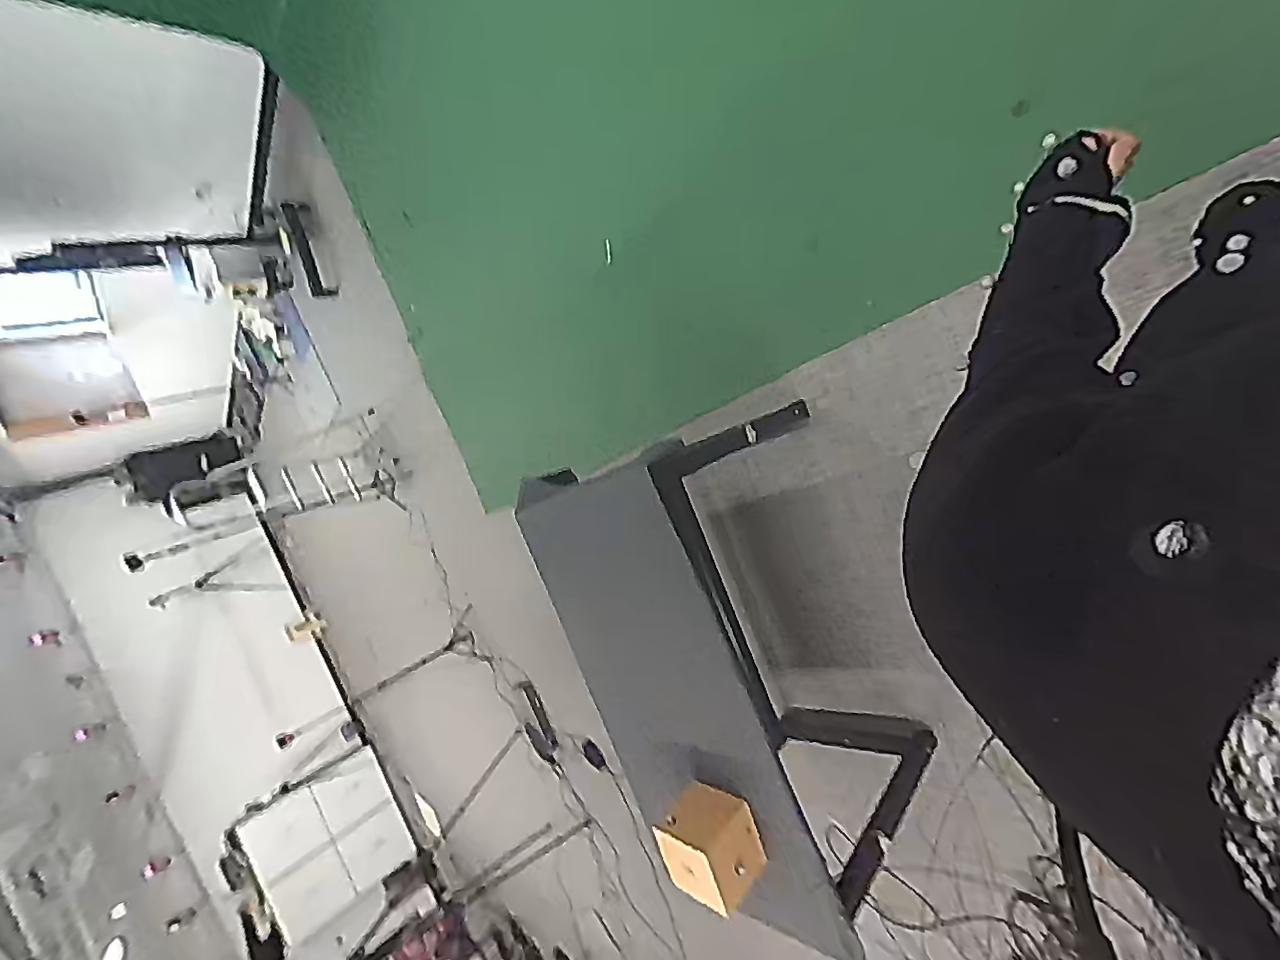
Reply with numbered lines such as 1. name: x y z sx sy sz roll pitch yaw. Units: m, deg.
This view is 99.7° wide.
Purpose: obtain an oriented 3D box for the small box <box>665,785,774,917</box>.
1. small box: 0.195 0.862 1.279 0.179 0.176 0.168 -13 98 50
